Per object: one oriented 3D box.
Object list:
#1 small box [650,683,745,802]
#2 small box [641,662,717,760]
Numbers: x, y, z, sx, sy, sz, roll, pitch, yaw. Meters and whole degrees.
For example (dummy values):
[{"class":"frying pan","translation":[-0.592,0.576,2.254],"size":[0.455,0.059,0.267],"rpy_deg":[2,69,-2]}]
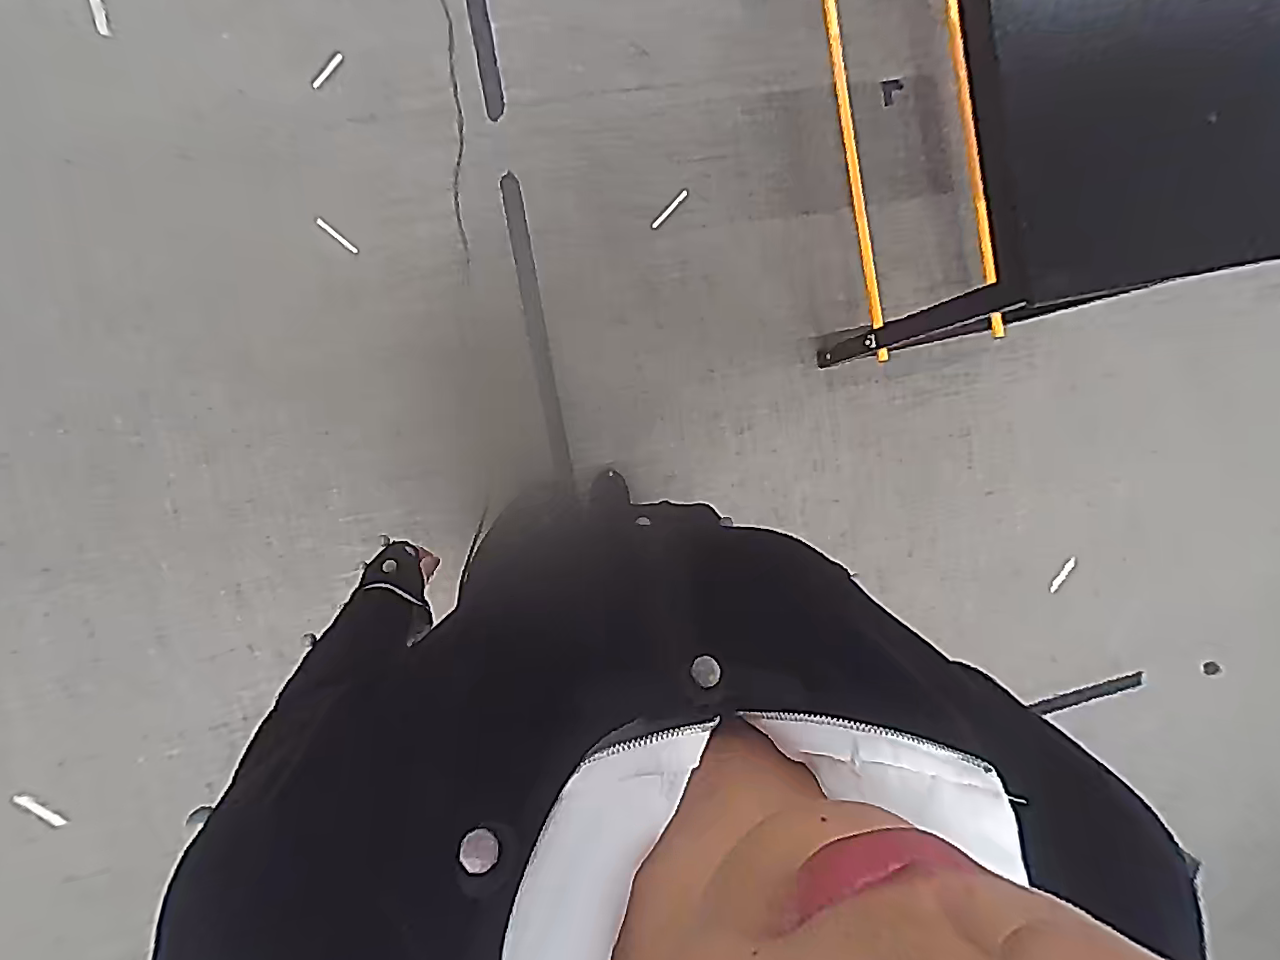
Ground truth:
[{"class":"small box","translation":[0.133,0.626,1.312],"size":[0.168,0.176,0.179],"rpy_deg":[-16,94,-9]},{"class":"small box","translation":[0.114,0.620,1.473],"size":[0.179,0.176,0.168],"rpy_deg":[-13,95,-7]}]
